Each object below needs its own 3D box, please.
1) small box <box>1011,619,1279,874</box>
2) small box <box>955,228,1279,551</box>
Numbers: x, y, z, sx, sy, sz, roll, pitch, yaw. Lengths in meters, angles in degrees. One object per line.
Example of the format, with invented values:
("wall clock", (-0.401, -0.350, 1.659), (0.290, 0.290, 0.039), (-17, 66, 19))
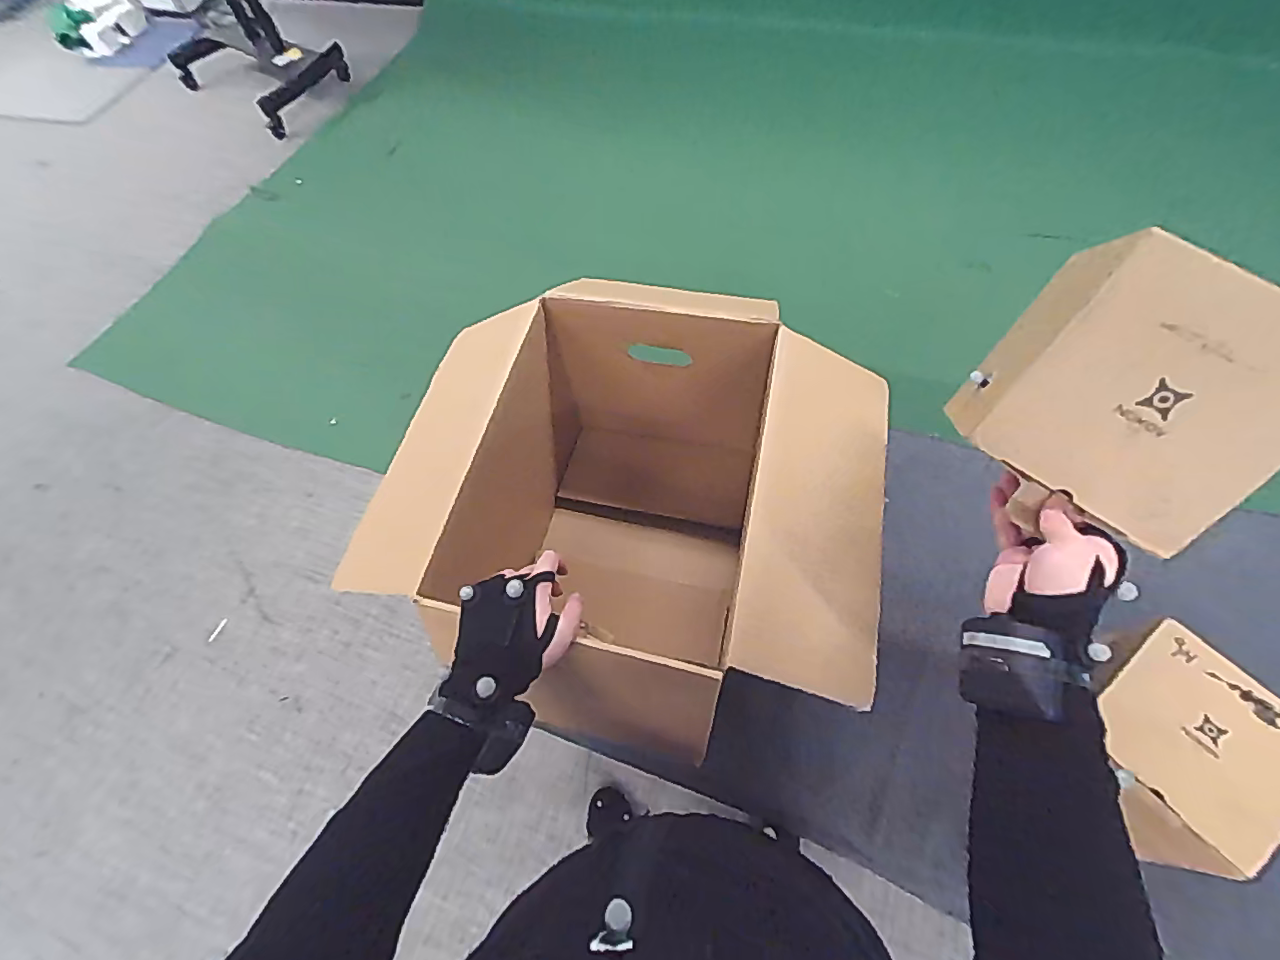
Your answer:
("small box", (0.564, 0.290, 0.606), (0.179, 0.176, 0.168), (-36, 64, -12))
("small box", (0.396, -0.078, 0.454), (0.168, 0.179, 0.176), (35, 26, 10))
